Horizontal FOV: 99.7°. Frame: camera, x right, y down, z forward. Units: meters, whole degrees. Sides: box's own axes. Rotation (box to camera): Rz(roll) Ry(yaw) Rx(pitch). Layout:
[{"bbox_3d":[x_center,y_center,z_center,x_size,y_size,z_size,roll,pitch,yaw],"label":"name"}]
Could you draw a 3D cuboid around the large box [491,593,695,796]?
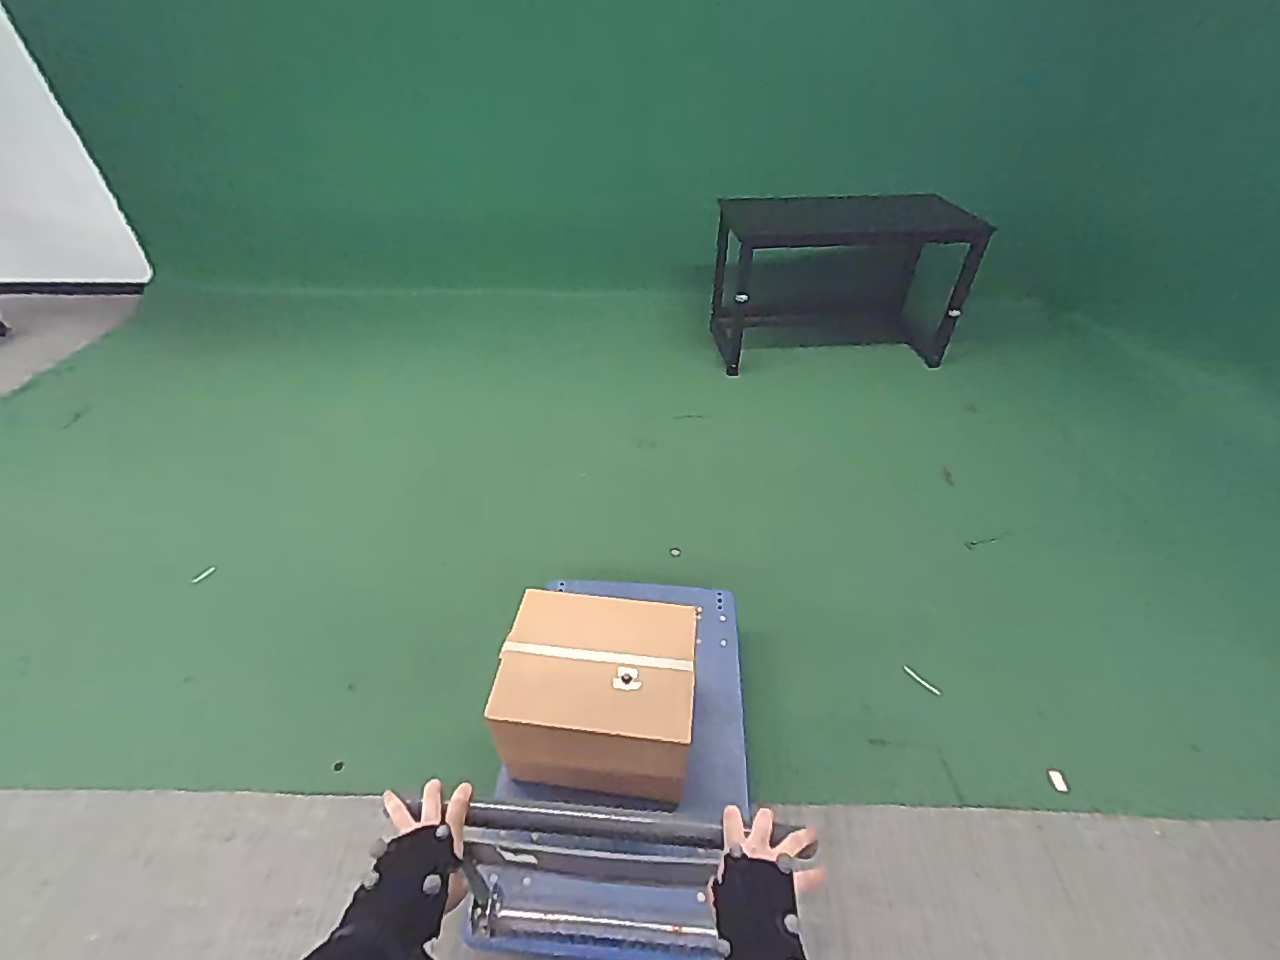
[{"bbox_3d":[-0.090,0.496,1.261,0.408,0.320,0.320,5,41,4],"label":"large box"}]
